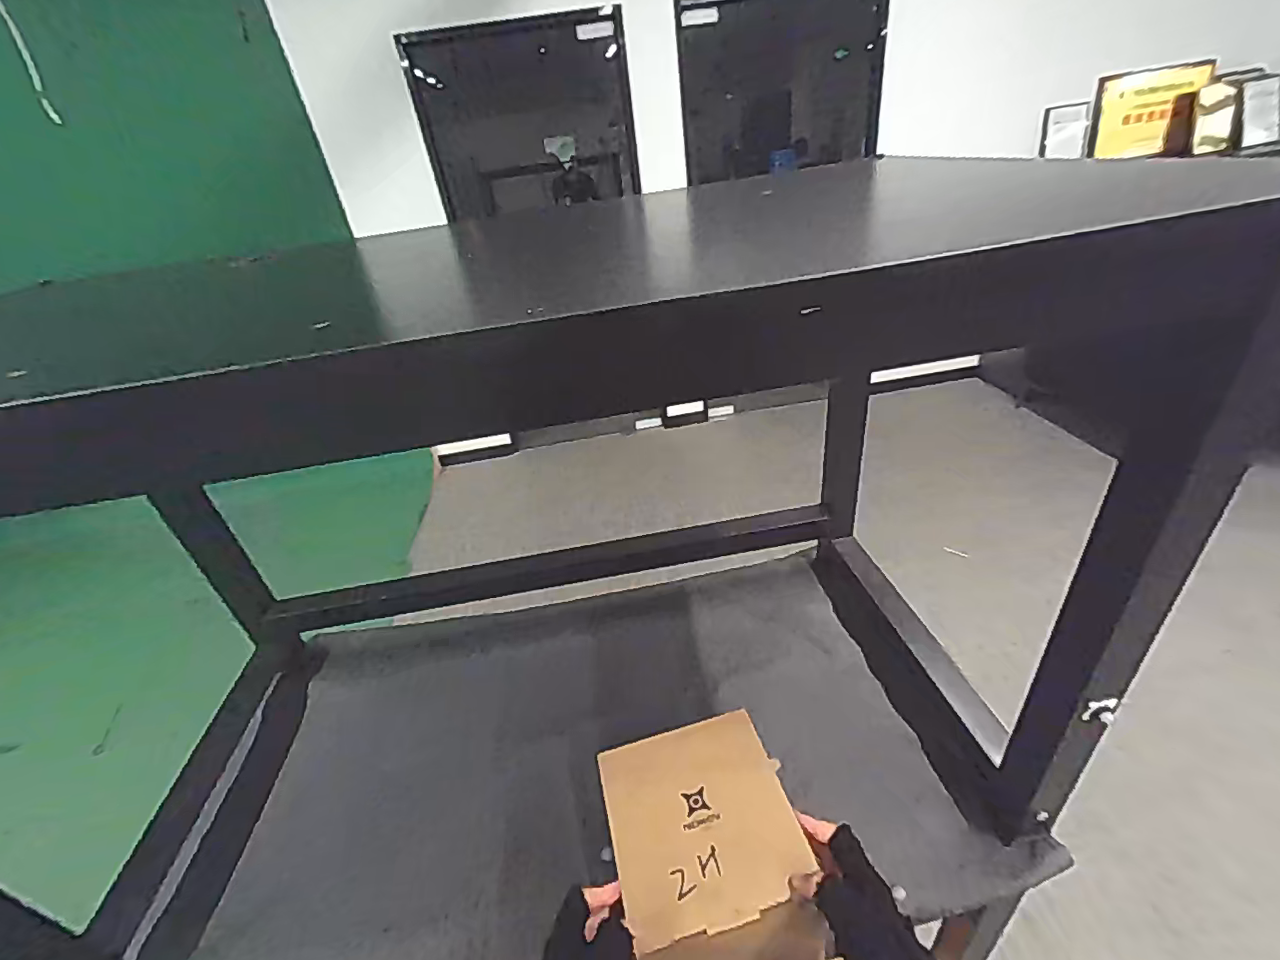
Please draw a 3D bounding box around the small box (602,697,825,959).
[{"bbox_3d":[0.067,0.362,0.545,0.168,0.176,0.179,-15,32,-7],"label":"small box"}]
